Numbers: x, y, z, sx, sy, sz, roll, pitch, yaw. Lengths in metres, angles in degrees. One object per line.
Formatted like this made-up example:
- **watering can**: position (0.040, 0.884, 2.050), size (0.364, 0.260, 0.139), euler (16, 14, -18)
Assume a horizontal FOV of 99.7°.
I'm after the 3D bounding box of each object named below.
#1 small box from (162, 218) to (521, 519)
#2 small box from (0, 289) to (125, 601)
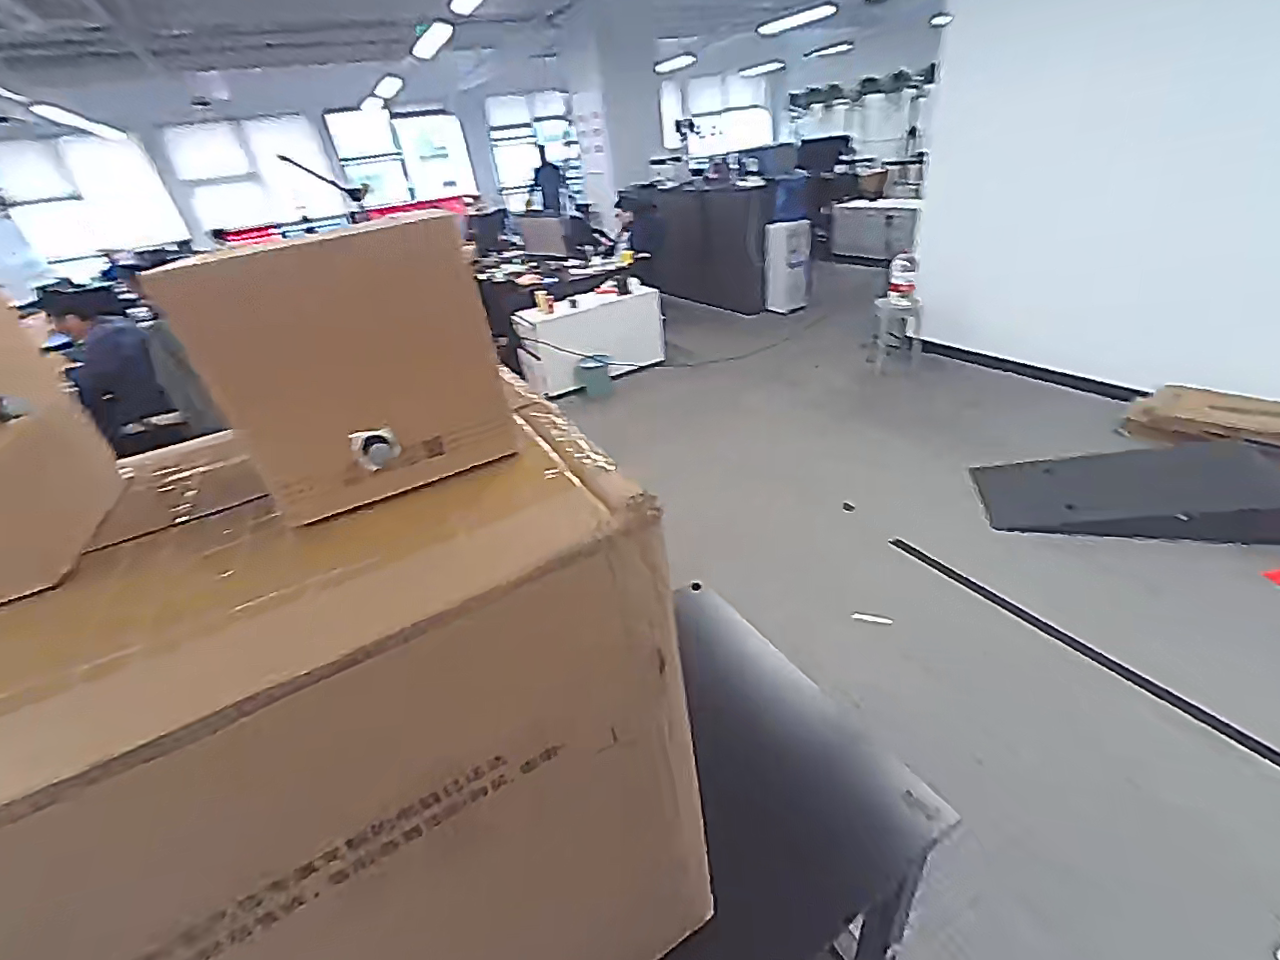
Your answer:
- **small box**: position (-0.211, -0.096, 0.421), size (0.168, 0.176, 0.179), euler (-23, 34, -20)
- **small box**: position (-0.483, -0.010, 0.341), size (0.168, 0.176, 0.179), euler (-21, 33, -23)
